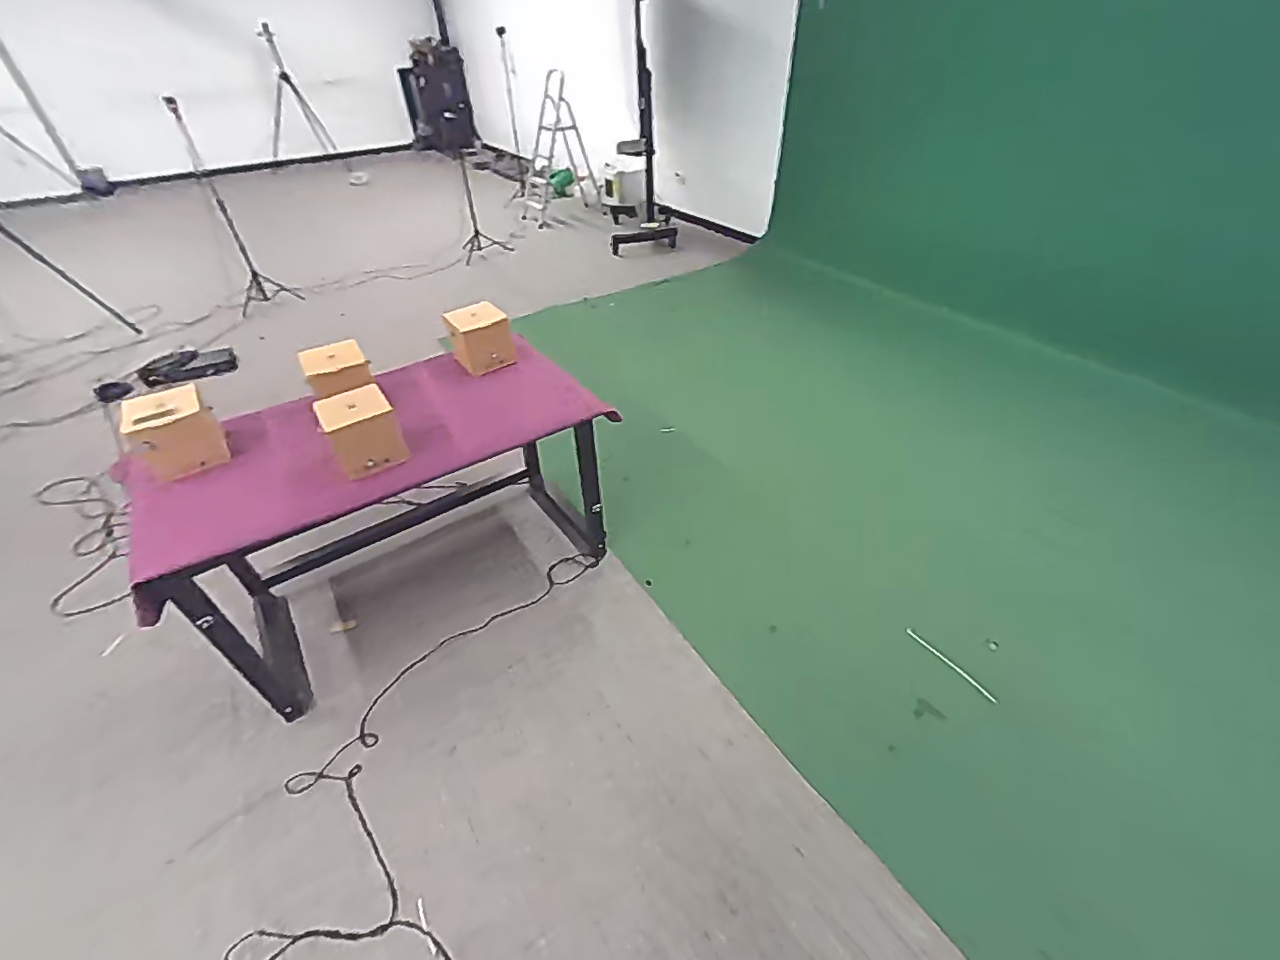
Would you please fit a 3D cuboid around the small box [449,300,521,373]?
[{"bbox_3d":[-0.534,-0.495,1.871,0.168,0.176,0.179,-29,48,-22],"label":"small box"}]

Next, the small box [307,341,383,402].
[{"bbox_3d":[-0.909,-0.308,1.691,0.168,0.176,0.179,-24,48,-23],"label":"small box"}]

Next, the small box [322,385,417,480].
[{"bbox_3d":[-0.737,-0.130,1.478,0.168,0.176,0.179,-27,46,-23],"label":"small box"}]
